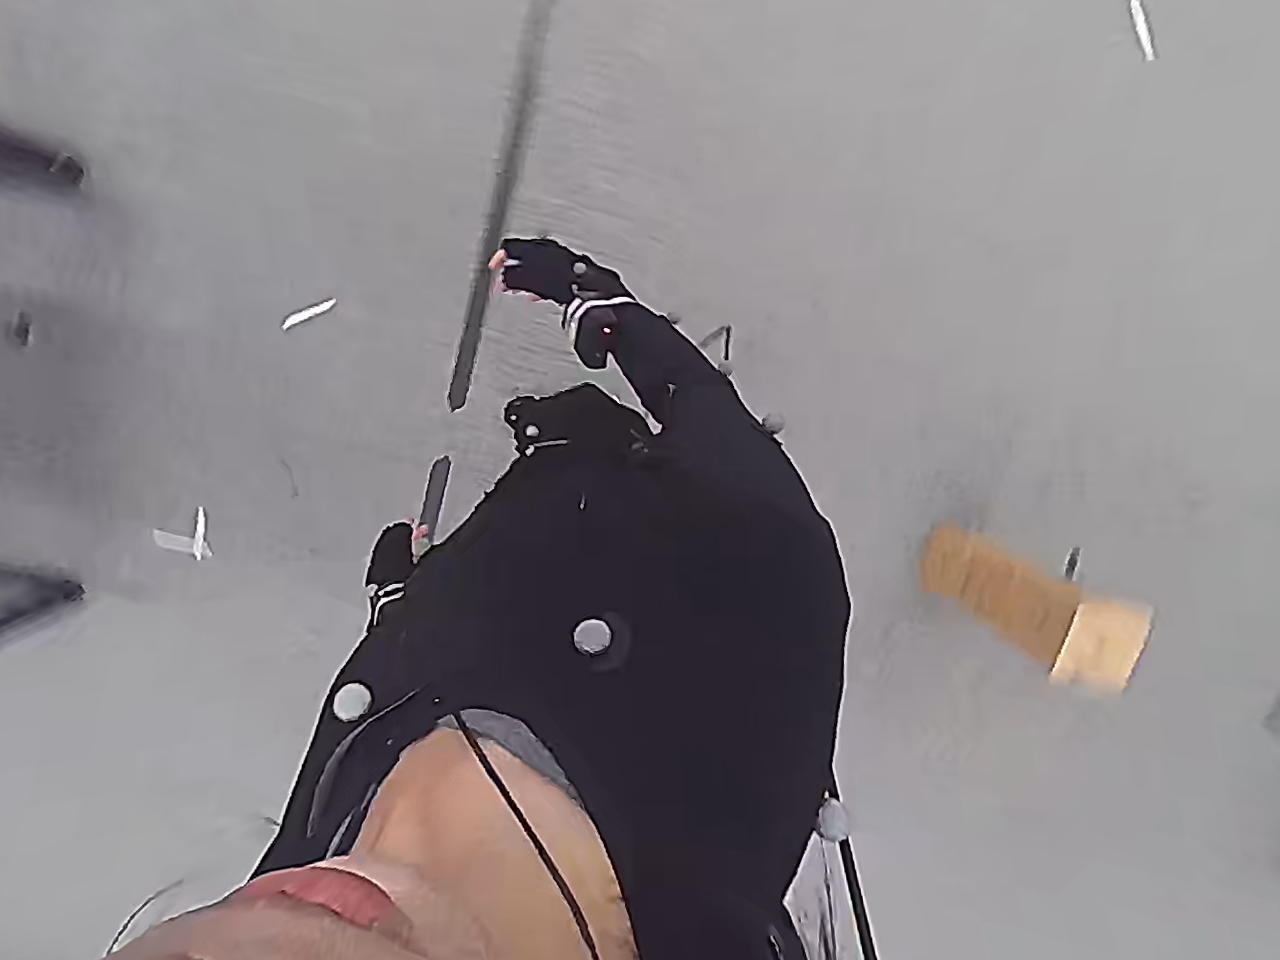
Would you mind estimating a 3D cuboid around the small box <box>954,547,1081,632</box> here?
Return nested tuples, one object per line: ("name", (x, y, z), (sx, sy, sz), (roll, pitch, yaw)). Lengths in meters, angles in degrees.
("small box", (0.921, 0.275, 1.338), (0.179, 0.176, 0.168), (9, 102, -5))

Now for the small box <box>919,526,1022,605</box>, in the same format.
("small box", (0.904, 0.239, 1.496), (0.168, 0.176, 0.179), (6, 99, -3))

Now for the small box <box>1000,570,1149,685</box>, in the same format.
("small box", (0.932, 0.313, 1.179), (0.168, 0.176, 0.179), (11, 101, -4))
